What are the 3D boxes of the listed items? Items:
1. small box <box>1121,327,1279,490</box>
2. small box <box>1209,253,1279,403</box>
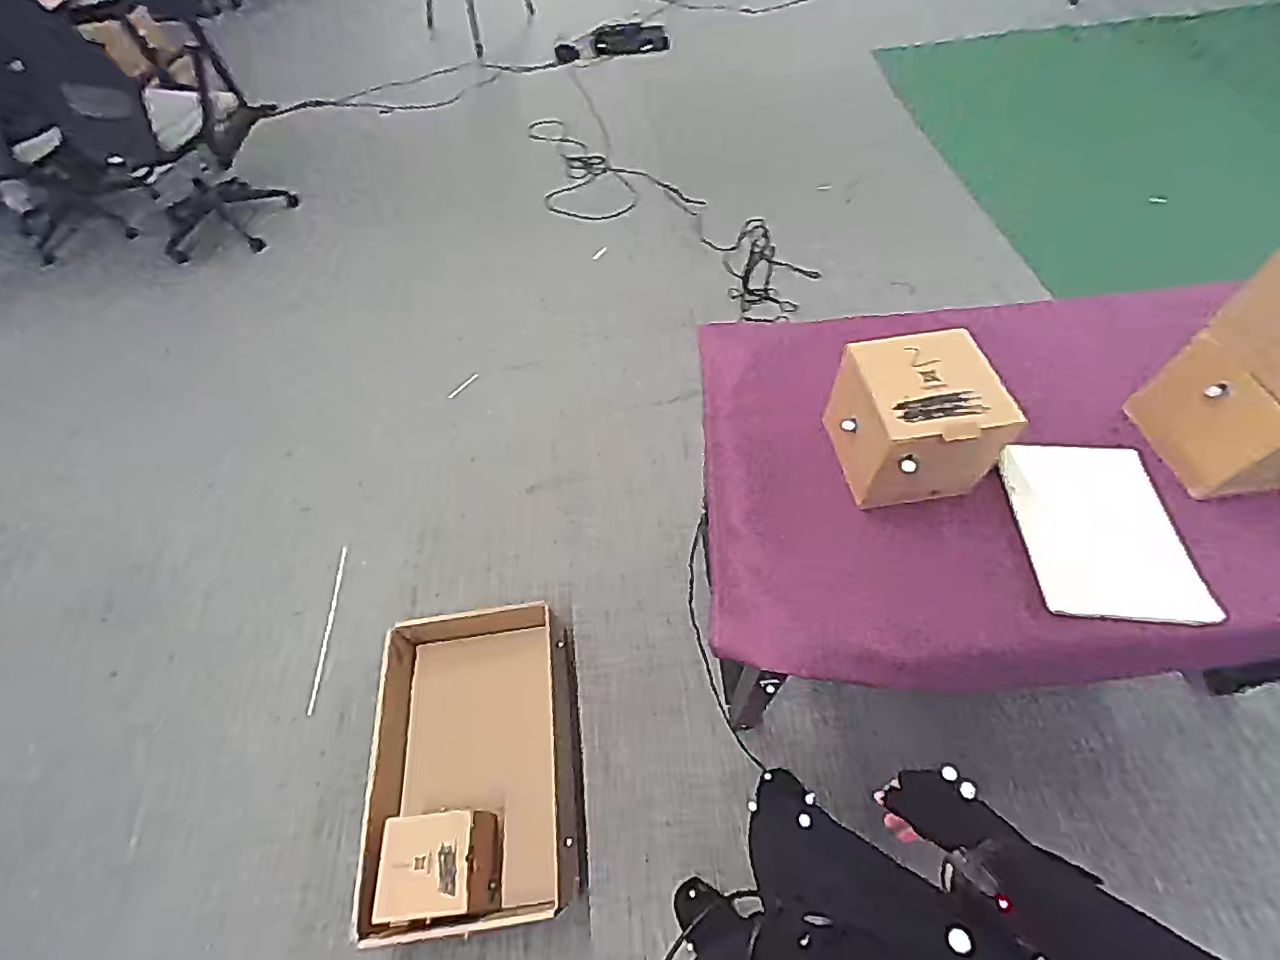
[{"bbox_3d":[0.840,-0.098,0.745,0.168,0.176,0.179,-8,56,0],"label":"small box"},{"bbox_3d":[0.830,-0.193,0.609,0.168,0.176,0.179,-5,57,2],"label":"small box"}]
